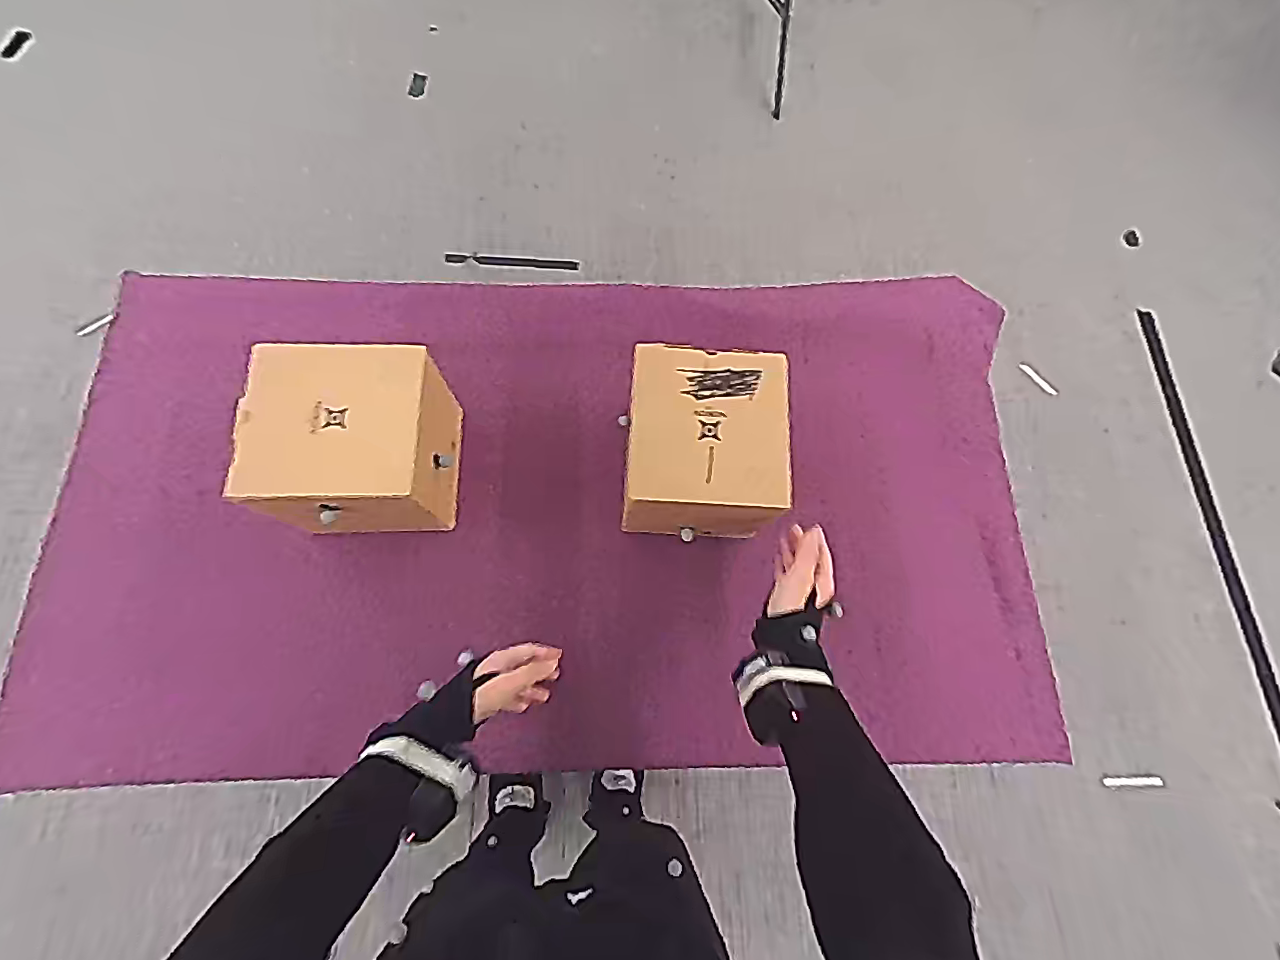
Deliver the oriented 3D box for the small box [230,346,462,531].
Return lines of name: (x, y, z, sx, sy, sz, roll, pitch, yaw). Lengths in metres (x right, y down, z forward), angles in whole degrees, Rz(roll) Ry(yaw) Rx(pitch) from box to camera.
small box: (-0.313, -0.037, 0.619, 0.179, 0.176, 0.168, -1, 74, -4)

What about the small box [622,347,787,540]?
small box: (0.067, -0.034, 0.641, 0.168, 0.176, 0.179, 4, 74, -2)
